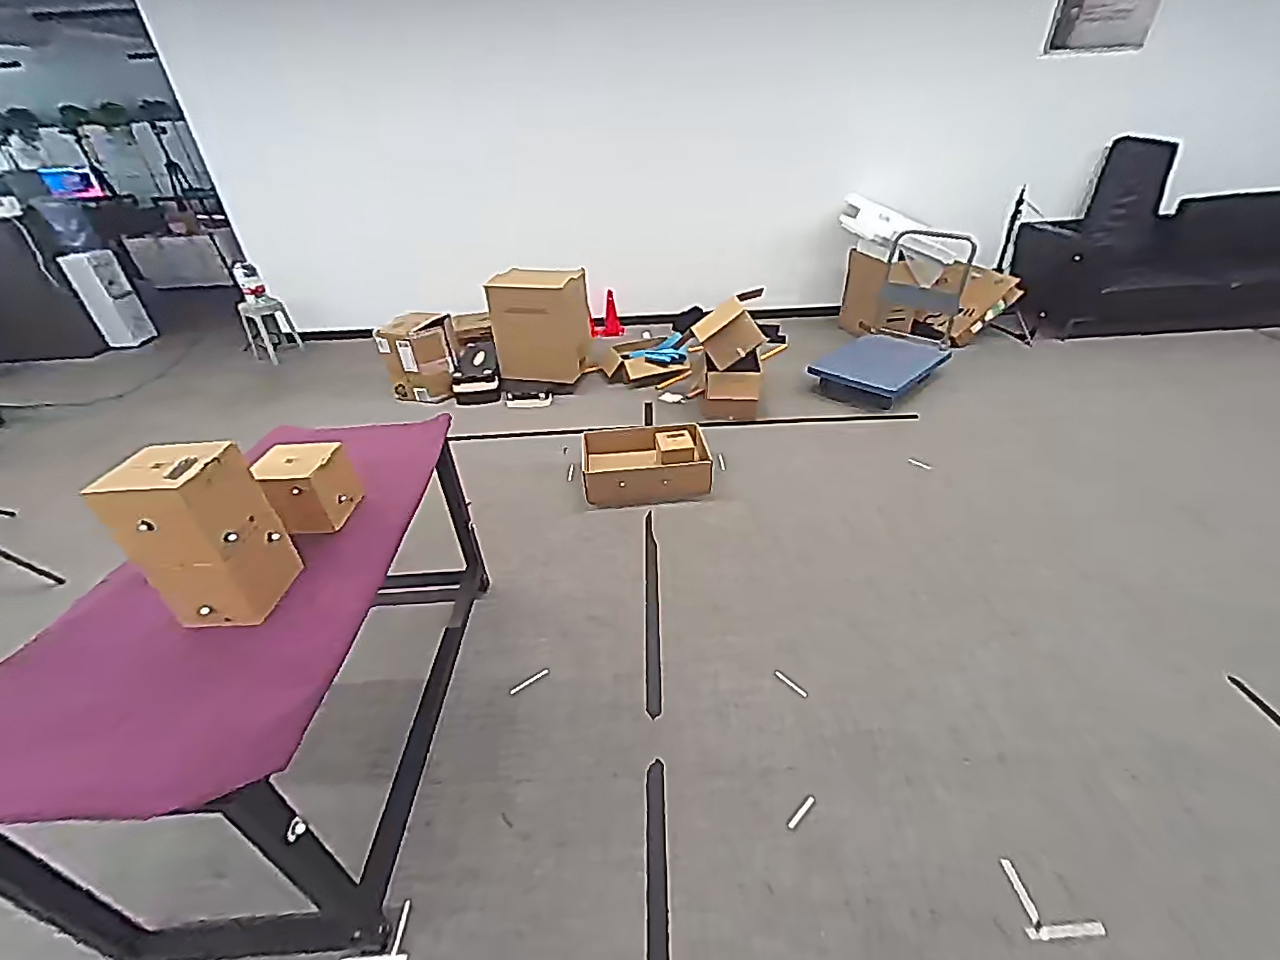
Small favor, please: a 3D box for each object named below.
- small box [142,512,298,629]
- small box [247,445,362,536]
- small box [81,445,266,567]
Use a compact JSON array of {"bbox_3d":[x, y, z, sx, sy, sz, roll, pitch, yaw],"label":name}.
[{"bbox_3d":[-0.849,0.186,1.121,0.168,0.176,0.179,-3,34,2],"label":"small box"},{"bbox_3d":[-0.838,0.029,1.355,0.179,0.176,0.168,-3,34,2],"label":"small box"},{"bbox_3d":[-0.865,0.049,1.030,0.179,0.176,0.168,-4,33,0],"label":"small box"}]
